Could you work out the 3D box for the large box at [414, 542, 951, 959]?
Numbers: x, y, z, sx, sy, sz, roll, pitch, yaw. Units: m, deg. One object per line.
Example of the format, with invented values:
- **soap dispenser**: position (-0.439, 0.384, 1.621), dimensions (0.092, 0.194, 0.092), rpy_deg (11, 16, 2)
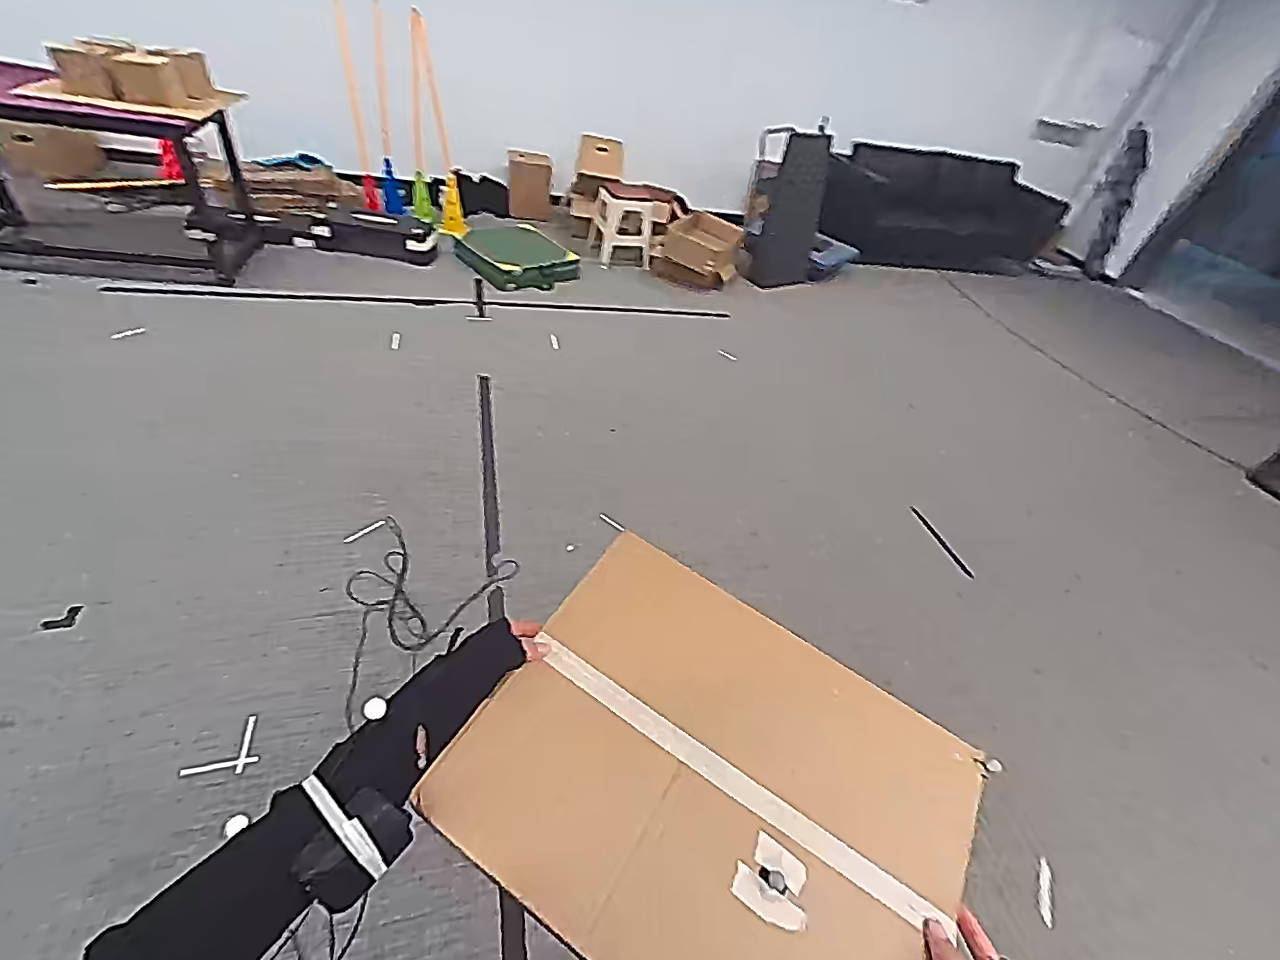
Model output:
- **large box**: position (0.035, 0.346, 0.590), dimensions (0.408, 0.320, 0.320), rpy_deg (30, 53, 12)
